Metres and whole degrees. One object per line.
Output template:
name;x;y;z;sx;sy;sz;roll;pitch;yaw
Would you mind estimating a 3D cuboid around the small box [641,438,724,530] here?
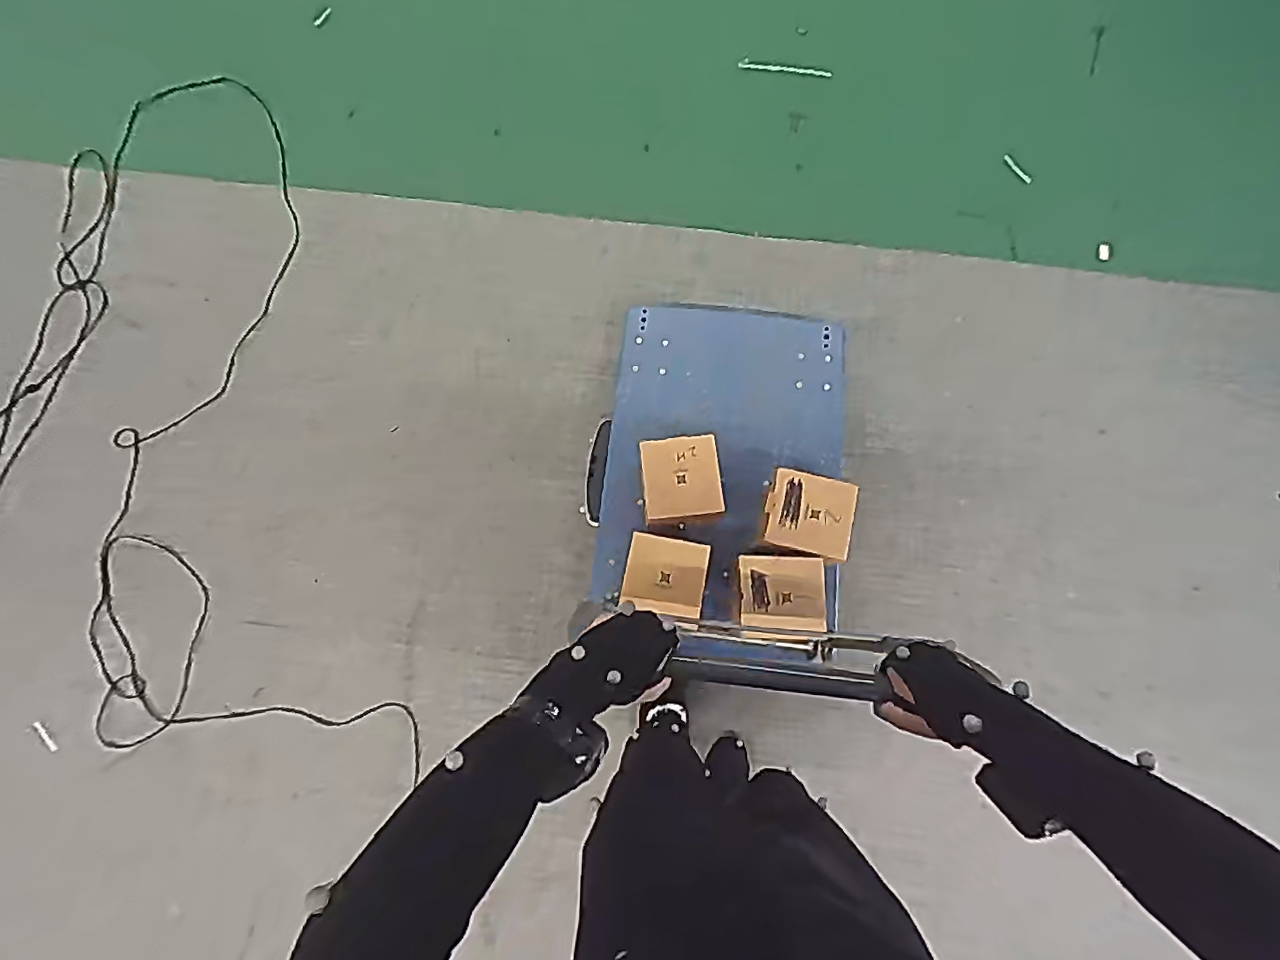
small box;0.090;0.017;1.229;0.168;0.176;0.179;-5;76;-2
